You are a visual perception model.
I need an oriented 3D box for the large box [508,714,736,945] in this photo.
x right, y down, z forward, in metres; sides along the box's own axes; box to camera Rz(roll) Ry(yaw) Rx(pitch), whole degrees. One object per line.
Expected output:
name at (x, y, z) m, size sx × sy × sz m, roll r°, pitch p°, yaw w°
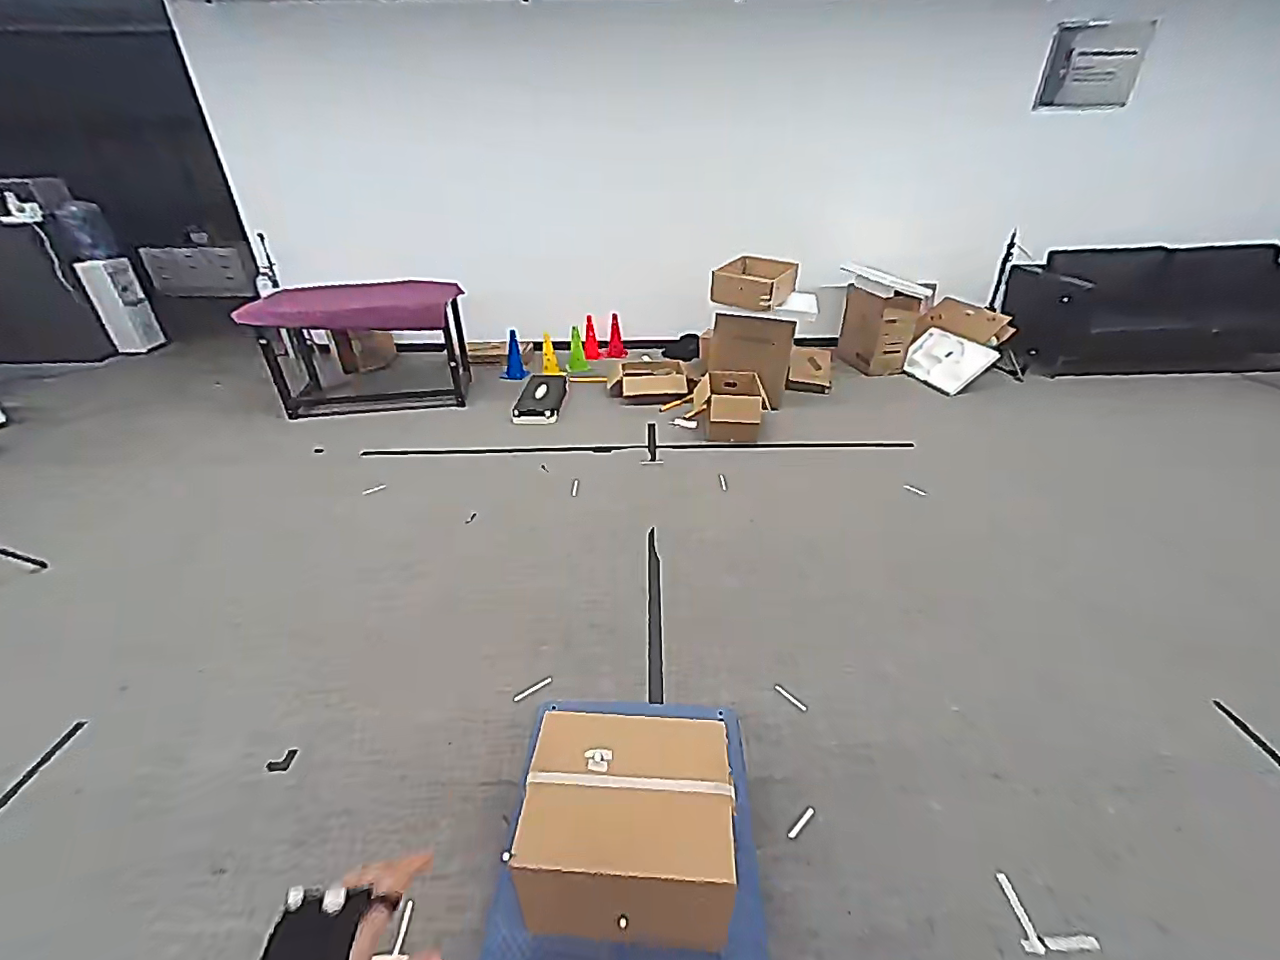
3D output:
large box at (-0.019, 0.726, 1.138) m, size 0.408 × 0.320 × 0.320 m, roll 0°, pitch 30°, yaw 4°
